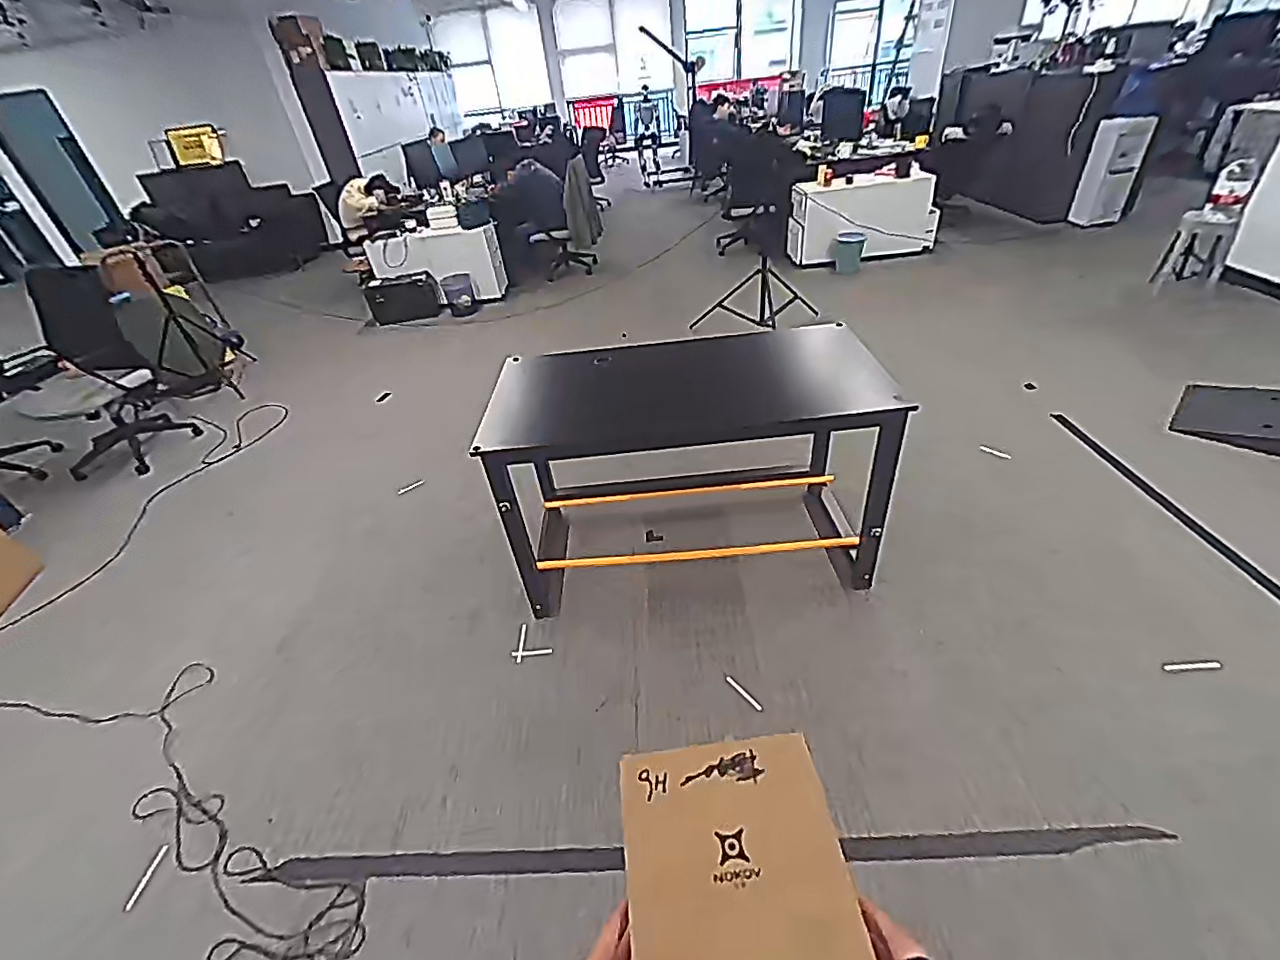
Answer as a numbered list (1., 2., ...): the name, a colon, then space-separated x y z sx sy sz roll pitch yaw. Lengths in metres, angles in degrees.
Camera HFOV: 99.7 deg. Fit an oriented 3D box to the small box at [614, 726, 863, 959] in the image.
1. small box: 0.073 0.346 0.473 0.168 0.176 0.179 -8 41 -1
